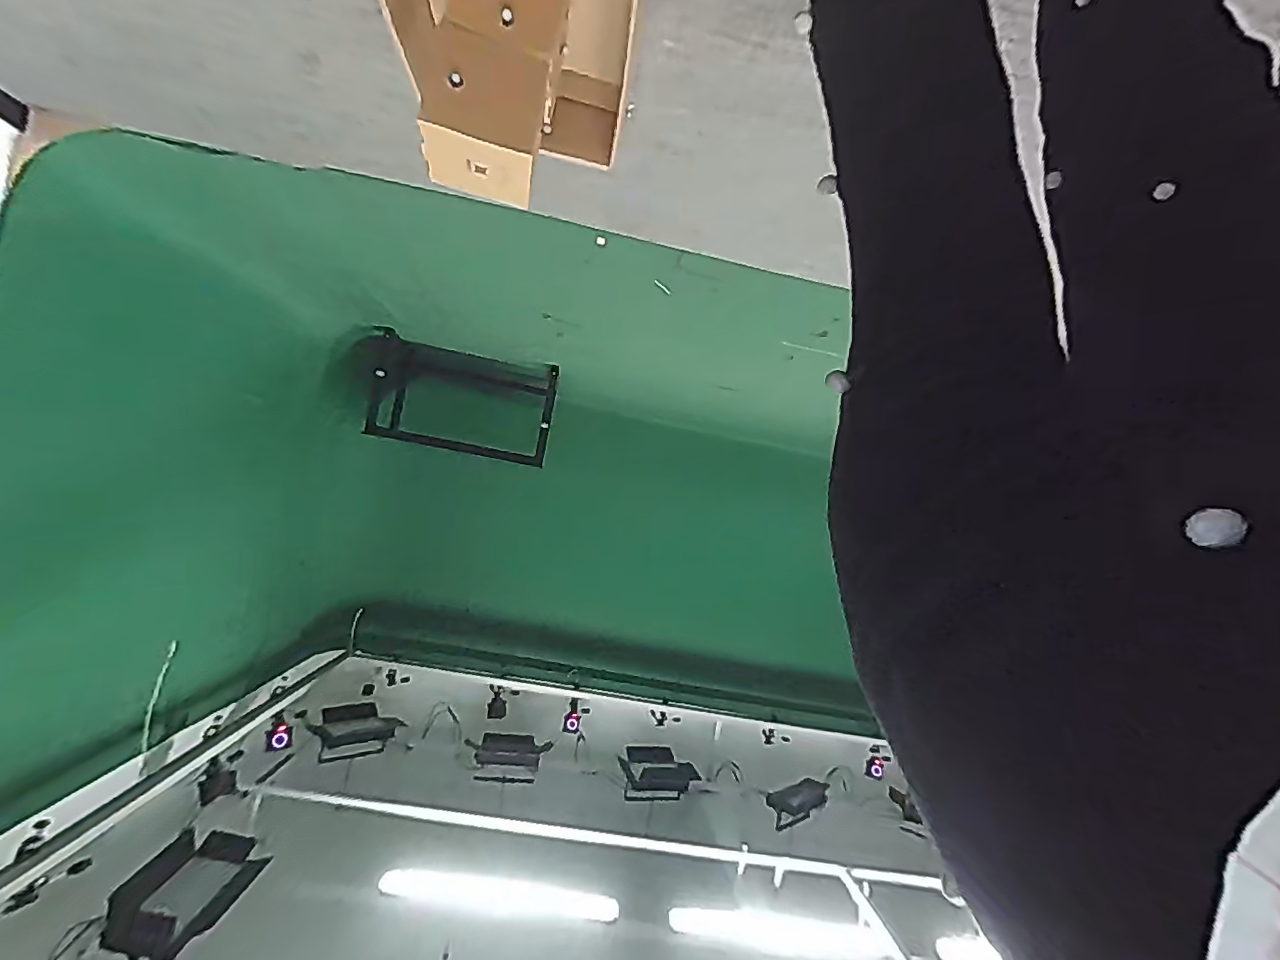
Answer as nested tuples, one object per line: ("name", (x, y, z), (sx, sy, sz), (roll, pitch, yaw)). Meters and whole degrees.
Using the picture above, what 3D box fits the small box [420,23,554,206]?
("small box", (-0.253, -0.608, 0.911), (0.179, 0.176, 0.168), (11, 174, -14))

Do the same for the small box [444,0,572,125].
("small box", (-0.220, -0.767, 0.928), (0.179, 0.176, 0.168), (10, 174, -11))
